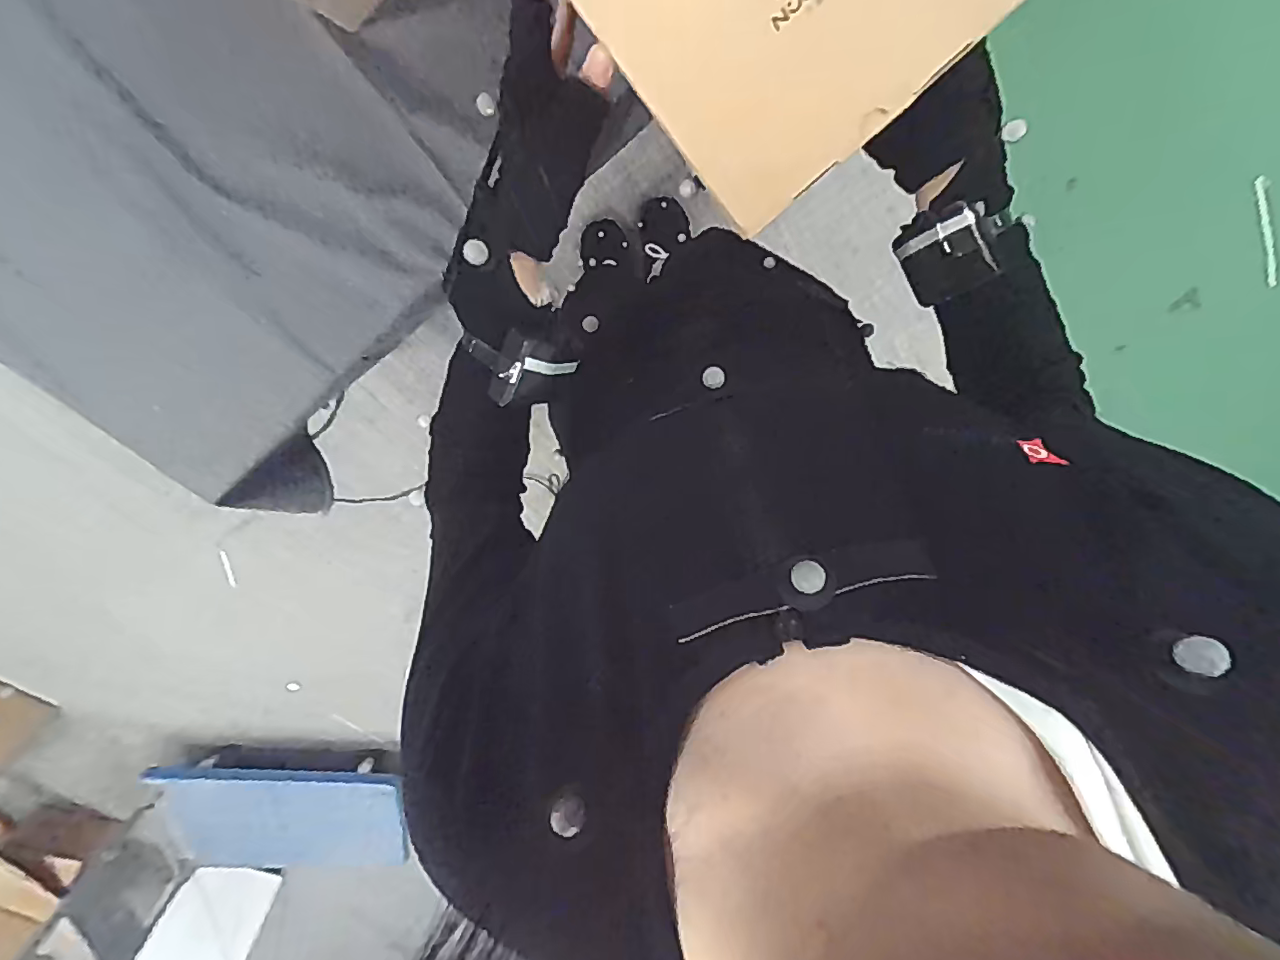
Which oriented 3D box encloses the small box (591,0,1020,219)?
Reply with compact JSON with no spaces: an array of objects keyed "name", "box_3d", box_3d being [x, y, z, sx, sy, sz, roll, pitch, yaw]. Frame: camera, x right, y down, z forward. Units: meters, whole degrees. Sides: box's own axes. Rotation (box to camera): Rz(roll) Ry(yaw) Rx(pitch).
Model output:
[{"name":"small box","box_3d":[0.068,-0.290,0.301,0.168,0.176,0.179,-36,125,24]}]
